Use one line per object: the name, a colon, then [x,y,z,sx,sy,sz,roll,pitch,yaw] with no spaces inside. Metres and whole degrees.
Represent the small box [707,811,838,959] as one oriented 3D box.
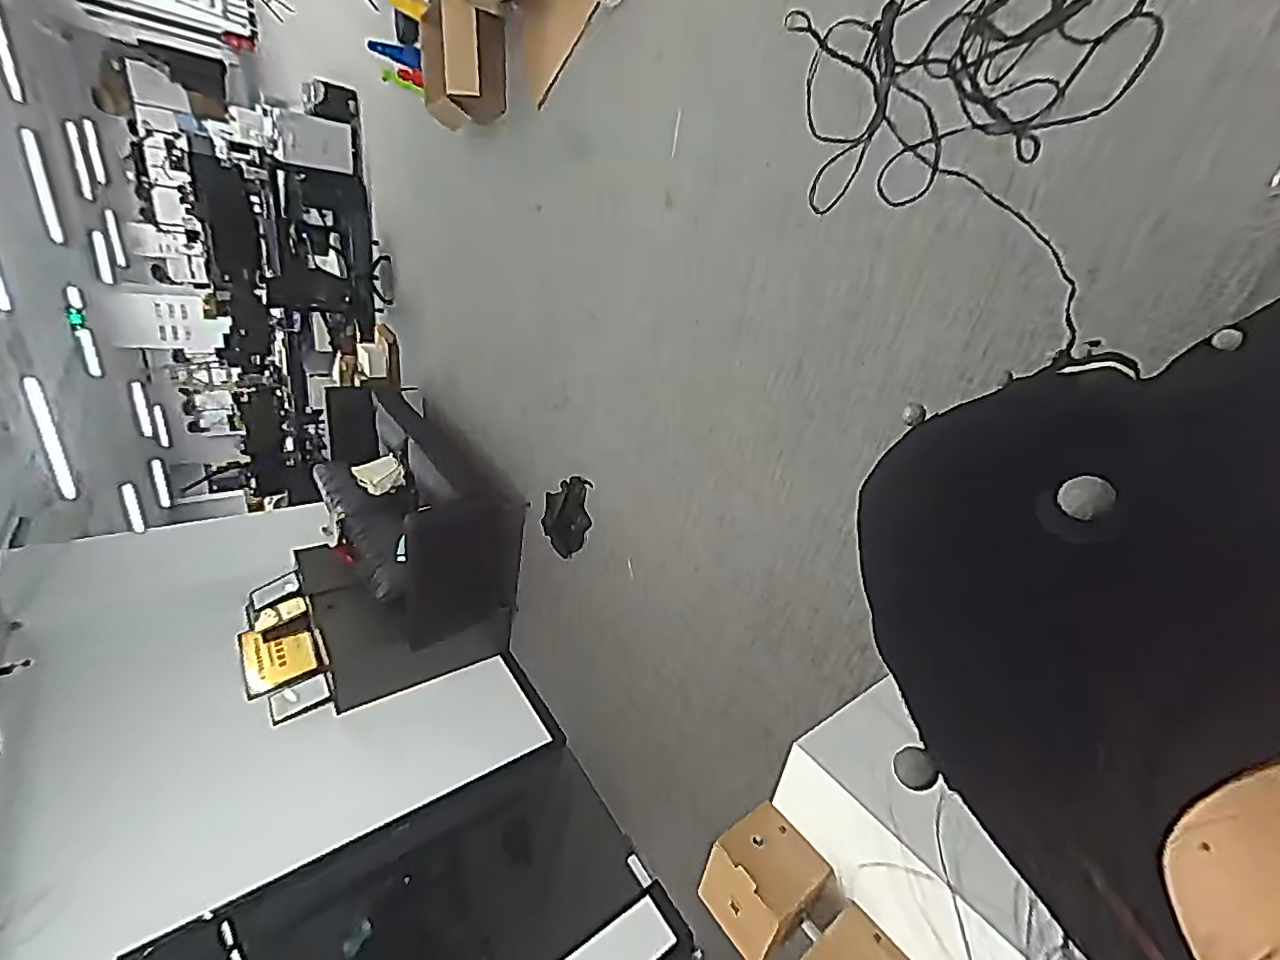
small box: [0.262,0.806,1.067,0.168,0.176,0.179,34,125,44]
